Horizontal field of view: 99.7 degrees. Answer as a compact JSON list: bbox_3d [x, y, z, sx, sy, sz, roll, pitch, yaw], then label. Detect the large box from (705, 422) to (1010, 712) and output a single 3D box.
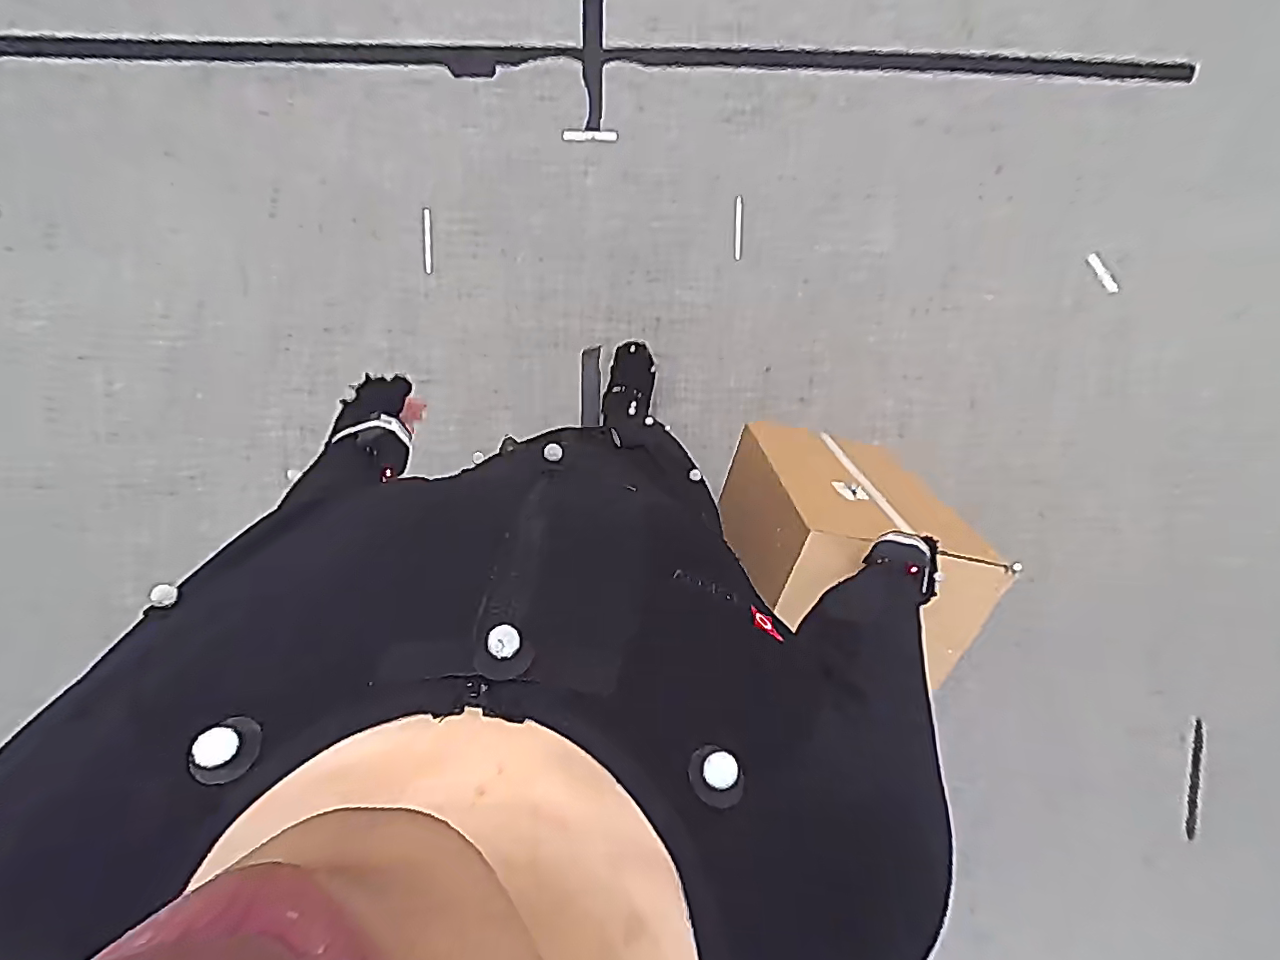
[{"bbox_3d":[0.333,0.137,0.982,0.320,0.408,0.320,11,117,-8],"label":"large box"}]
